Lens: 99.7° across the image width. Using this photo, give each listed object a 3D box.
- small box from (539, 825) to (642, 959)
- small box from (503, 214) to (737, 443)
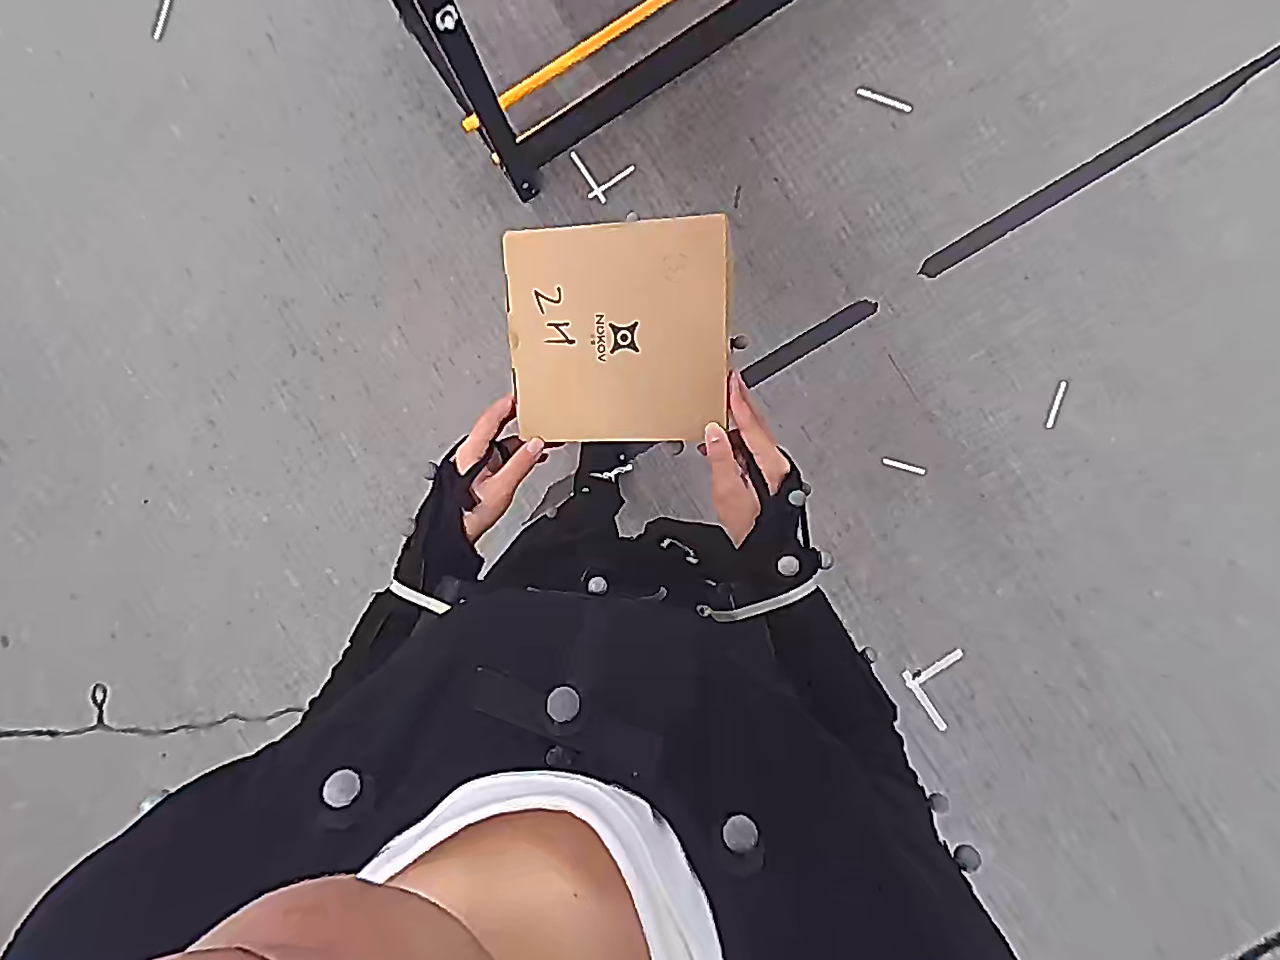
[{"bbox_3d":[-0.108,0.983,1.290,0.179,0.176,0.168,-38,89,1],"label":"small box"},{"bbox_3d":[-0.003,-0.127,0.487,0.179,0.176,0.168,1,102,11],"label":"small box"}]
